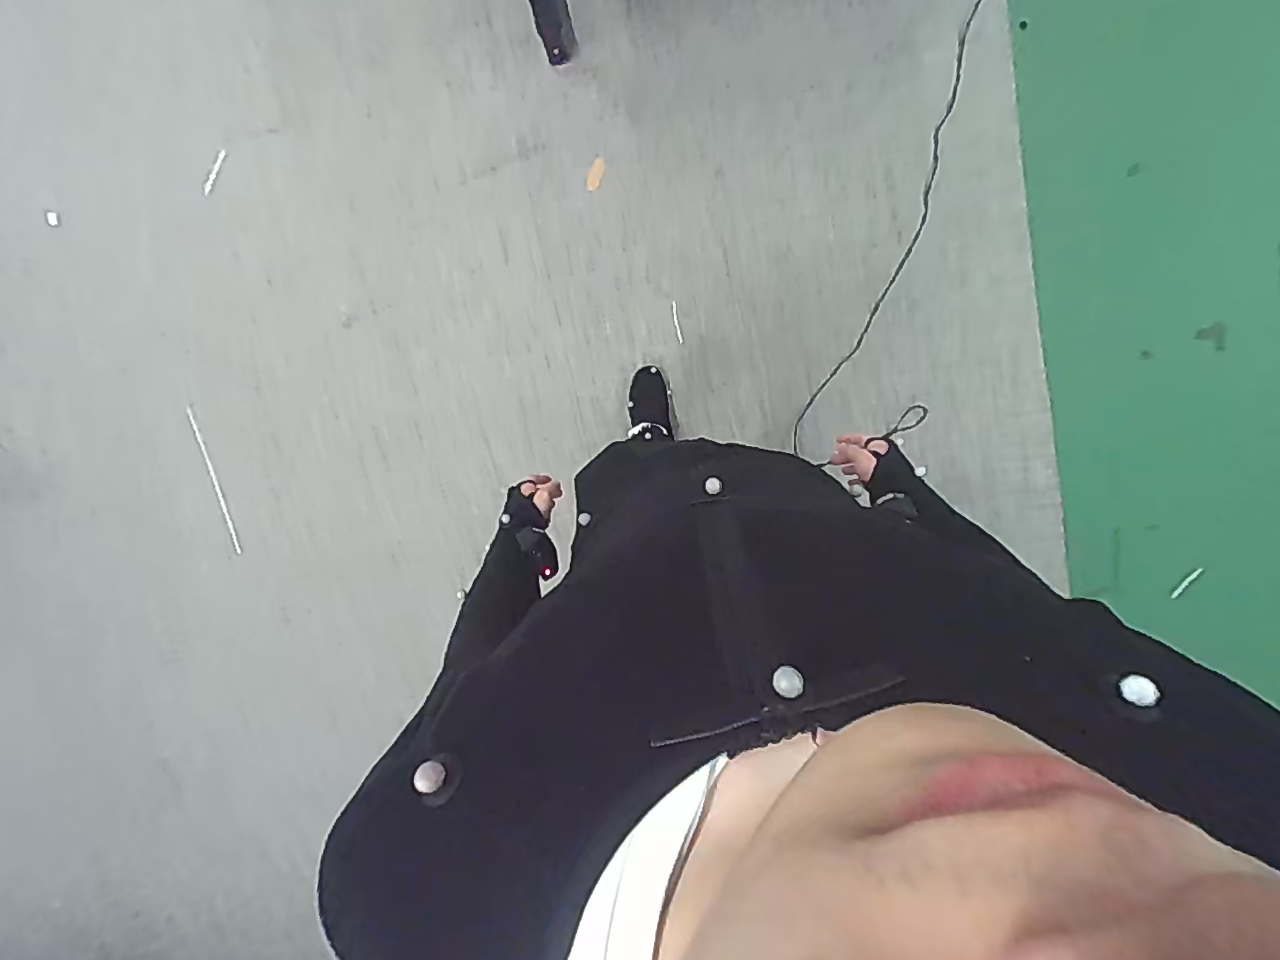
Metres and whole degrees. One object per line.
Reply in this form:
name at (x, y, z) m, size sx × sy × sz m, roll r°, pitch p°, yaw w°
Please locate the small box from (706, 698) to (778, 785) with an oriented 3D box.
small box at (0.306, 0.790, 1.647) m, size 0.179 × 0.176 × 0.168 m, roll -11°, pitch 98°, yaw 3°
